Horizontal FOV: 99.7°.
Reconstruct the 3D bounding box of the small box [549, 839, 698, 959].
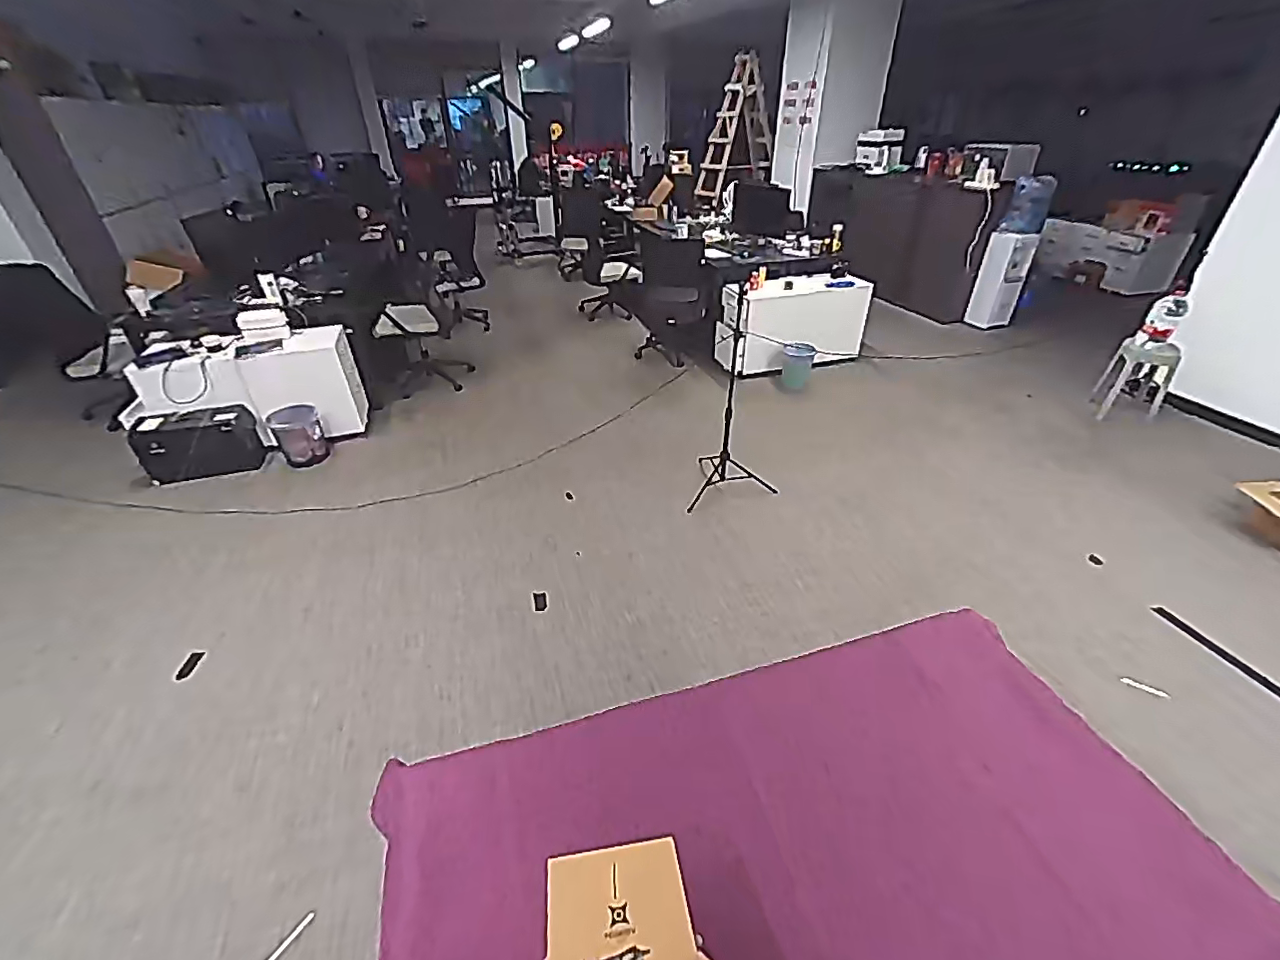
[{"bbox_3d":[-0.019,0.583,0.656,0.168,0.176,0.179,-6,30,-8],"label":"small box"}]
